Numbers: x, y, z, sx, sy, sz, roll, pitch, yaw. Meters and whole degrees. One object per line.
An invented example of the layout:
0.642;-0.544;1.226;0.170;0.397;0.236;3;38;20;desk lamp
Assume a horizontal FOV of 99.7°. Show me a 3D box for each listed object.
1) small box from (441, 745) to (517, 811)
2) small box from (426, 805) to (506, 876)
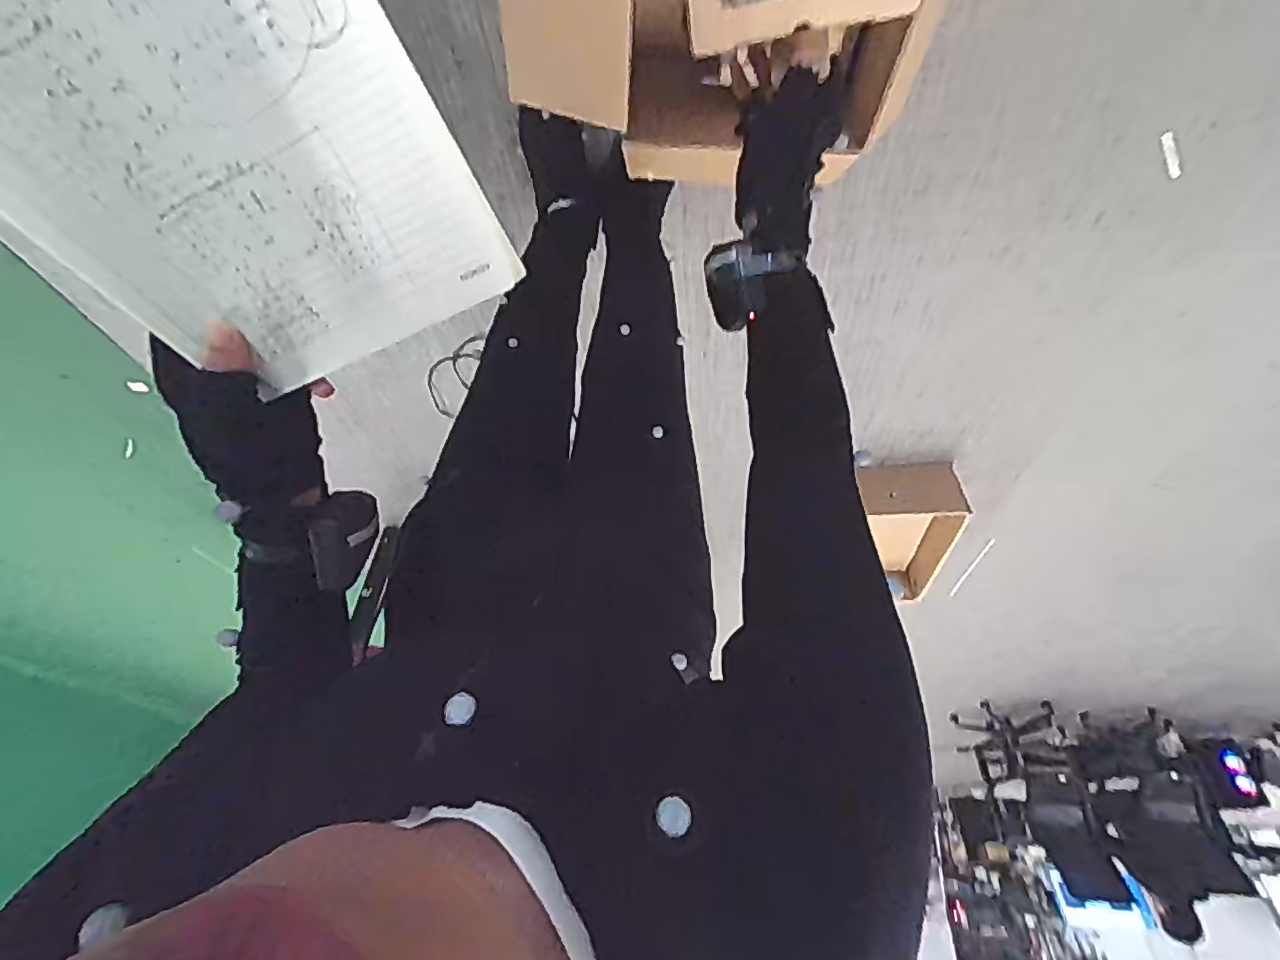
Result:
-0.506;0.950;1.724;0.168;0.176;0.179;-3;144;7;small box
-0.514;1.087;1.632;0.168;0.176;0.179;-1;144;4;small box
